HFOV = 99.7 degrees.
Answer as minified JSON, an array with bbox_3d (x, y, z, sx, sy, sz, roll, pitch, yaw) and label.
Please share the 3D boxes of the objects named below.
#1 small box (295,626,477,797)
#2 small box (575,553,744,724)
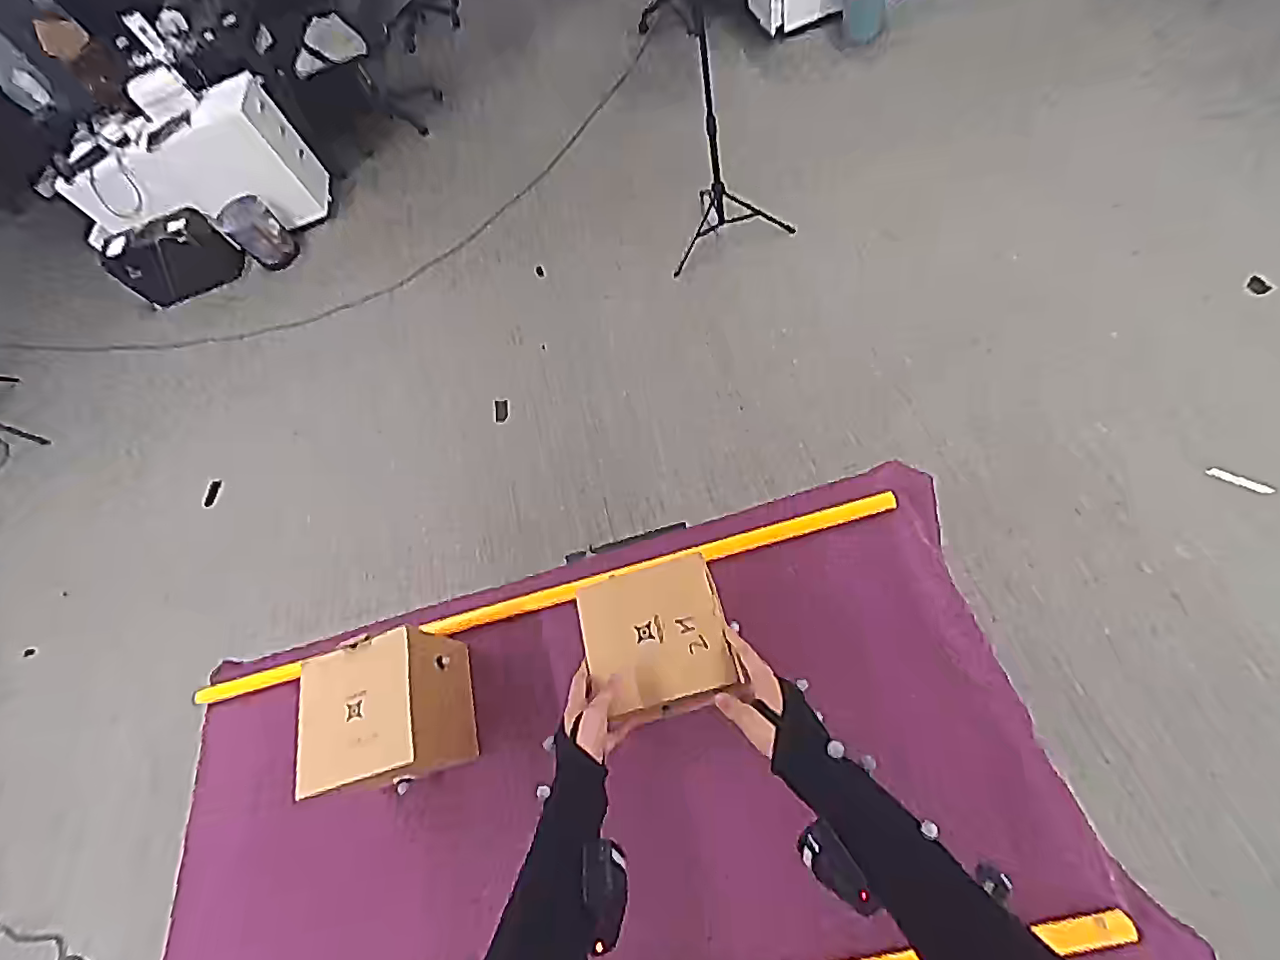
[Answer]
[{"bbox_3d":[-0.353,0.333,0.774,0.168,0.176,0.179,-20,60,5],"label":"small box"},{"bbox_3d":[0.031,0.222,0.730,0.179,0.176,0.168,-18,61,5],"label":"small box"}]
